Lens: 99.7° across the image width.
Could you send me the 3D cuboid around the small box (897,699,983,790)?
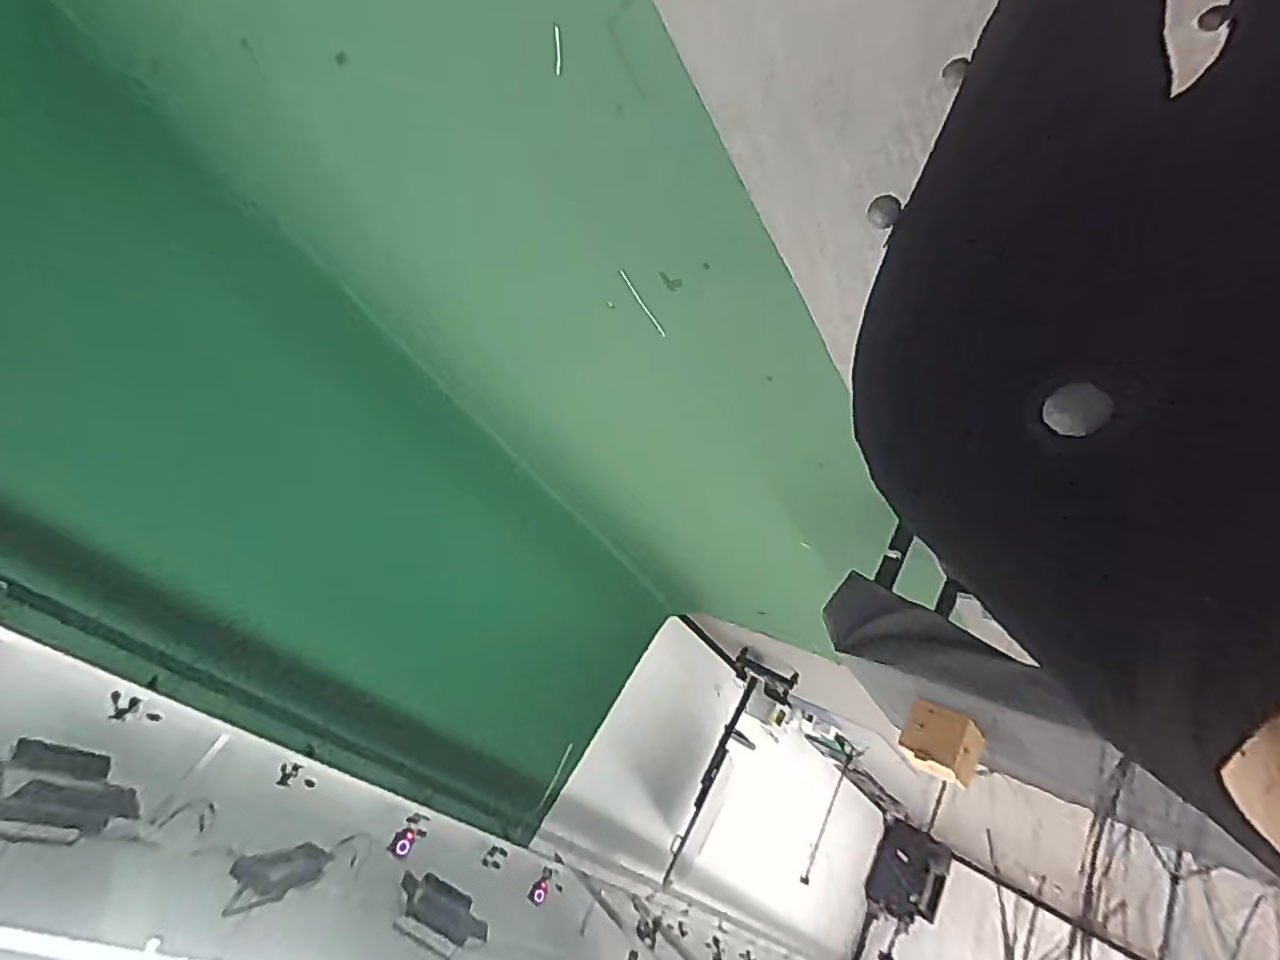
[{"bbox_3d":[0.927,0.809,1.668,0.168,0.176,0.179,7,146,52],"label":"small box"}]
